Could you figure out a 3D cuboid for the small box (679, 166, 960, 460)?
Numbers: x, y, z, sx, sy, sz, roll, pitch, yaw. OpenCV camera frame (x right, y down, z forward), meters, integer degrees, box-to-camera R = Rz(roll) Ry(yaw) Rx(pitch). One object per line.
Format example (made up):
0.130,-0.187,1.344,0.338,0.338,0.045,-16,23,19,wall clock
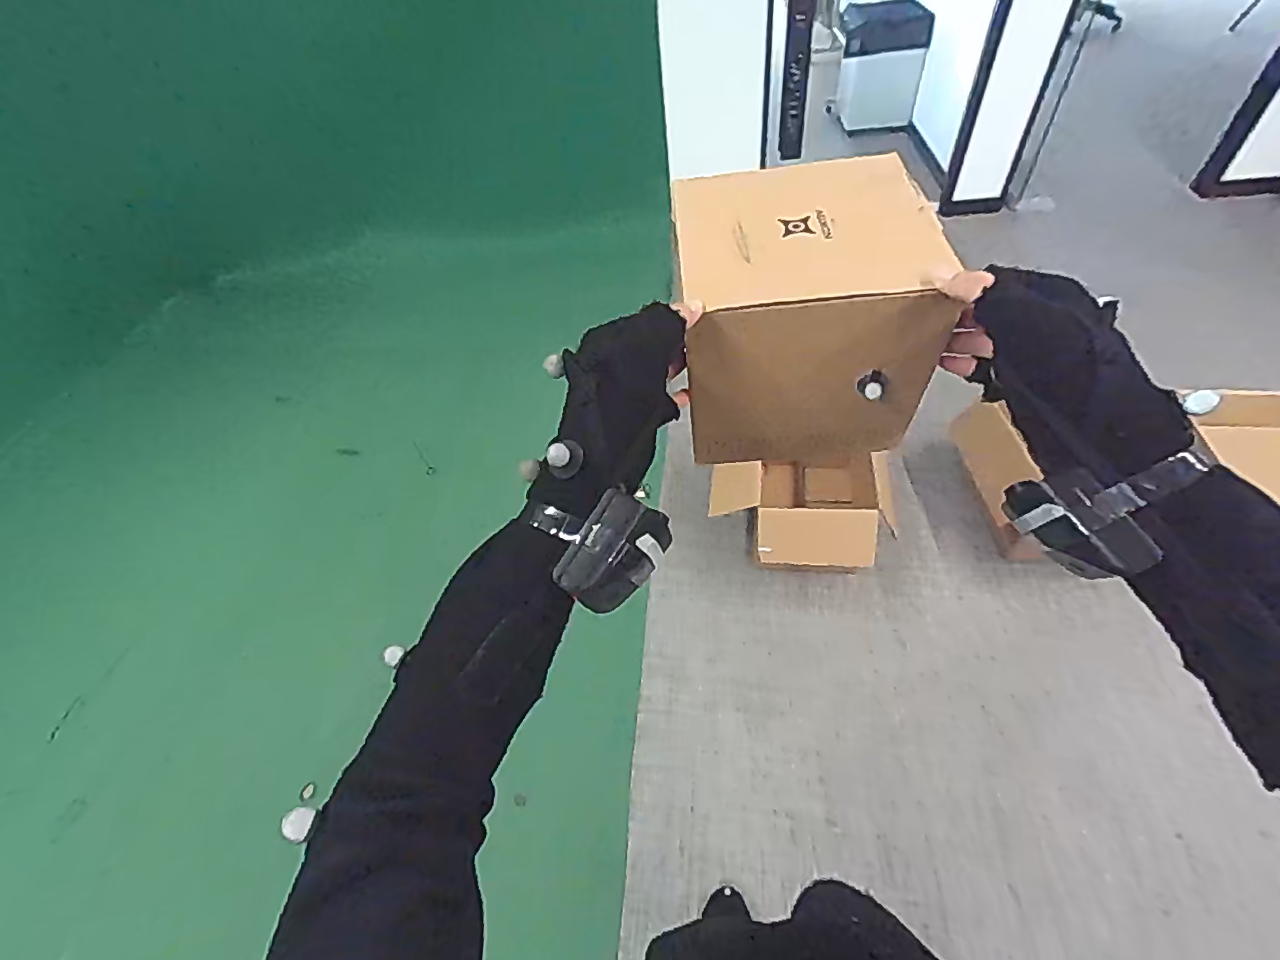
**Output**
0.125,-0.132,0.457,0.179,0.176,0.168,-4,55,5,small box
